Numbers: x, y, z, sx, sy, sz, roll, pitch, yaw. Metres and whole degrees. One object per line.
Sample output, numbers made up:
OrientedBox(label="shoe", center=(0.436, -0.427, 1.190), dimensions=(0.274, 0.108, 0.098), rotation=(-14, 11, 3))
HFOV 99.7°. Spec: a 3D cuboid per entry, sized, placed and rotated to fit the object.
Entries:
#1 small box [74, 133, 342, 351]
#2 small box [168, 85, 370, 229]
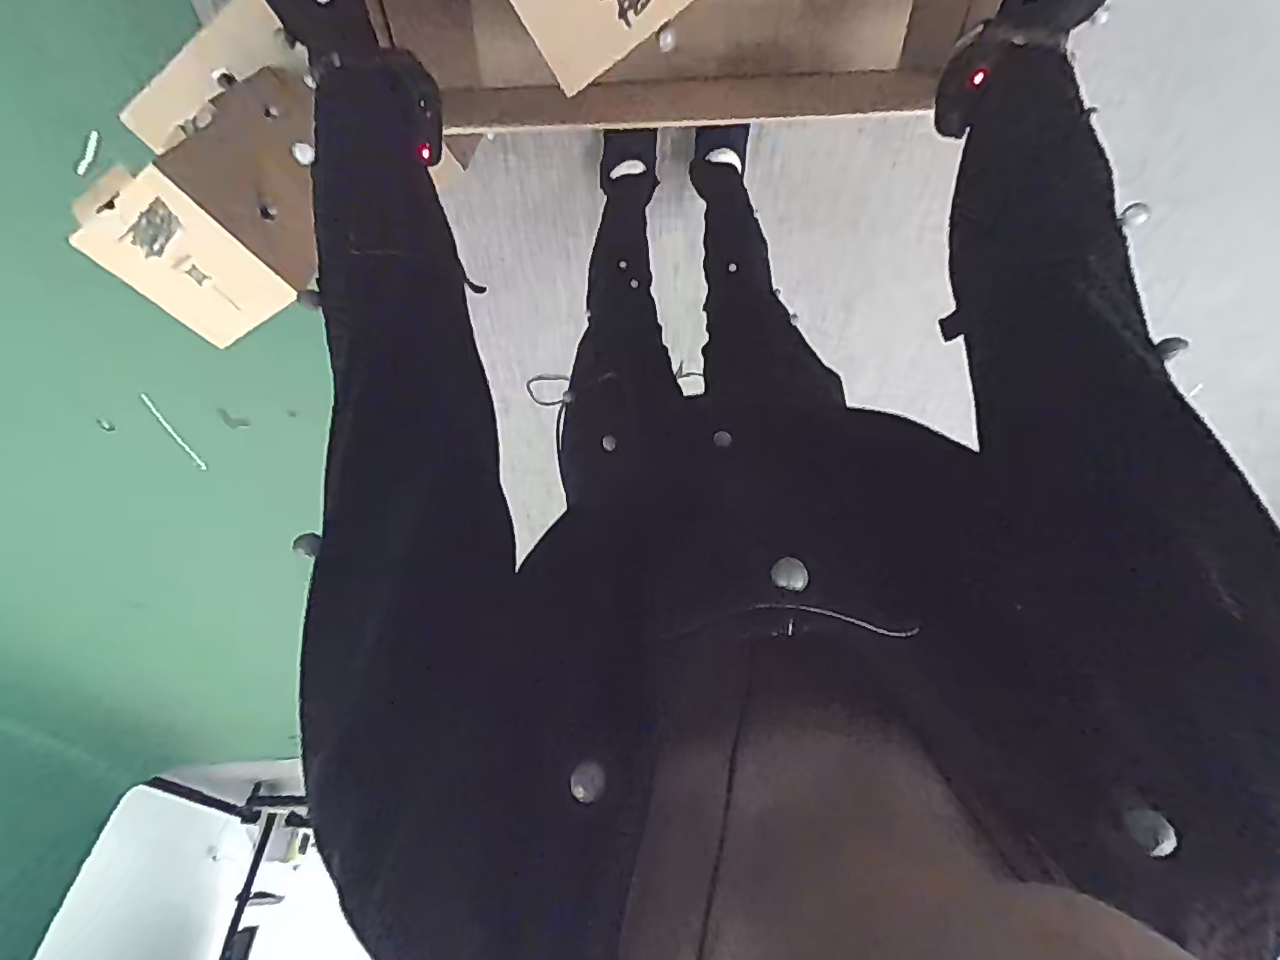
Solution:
OrientedBox(label="small box", center=(-0.527, -0.306, 0.689), dimensions=(0.168, 0.176, 0.179), rotation=(-20, 136, 20))
OrientedBox(label="small box", center=(-0.538, -0.436, 0.790), dimensions=(0.168, 0.176, 0.179), rotation=(-24, 134, 23))
